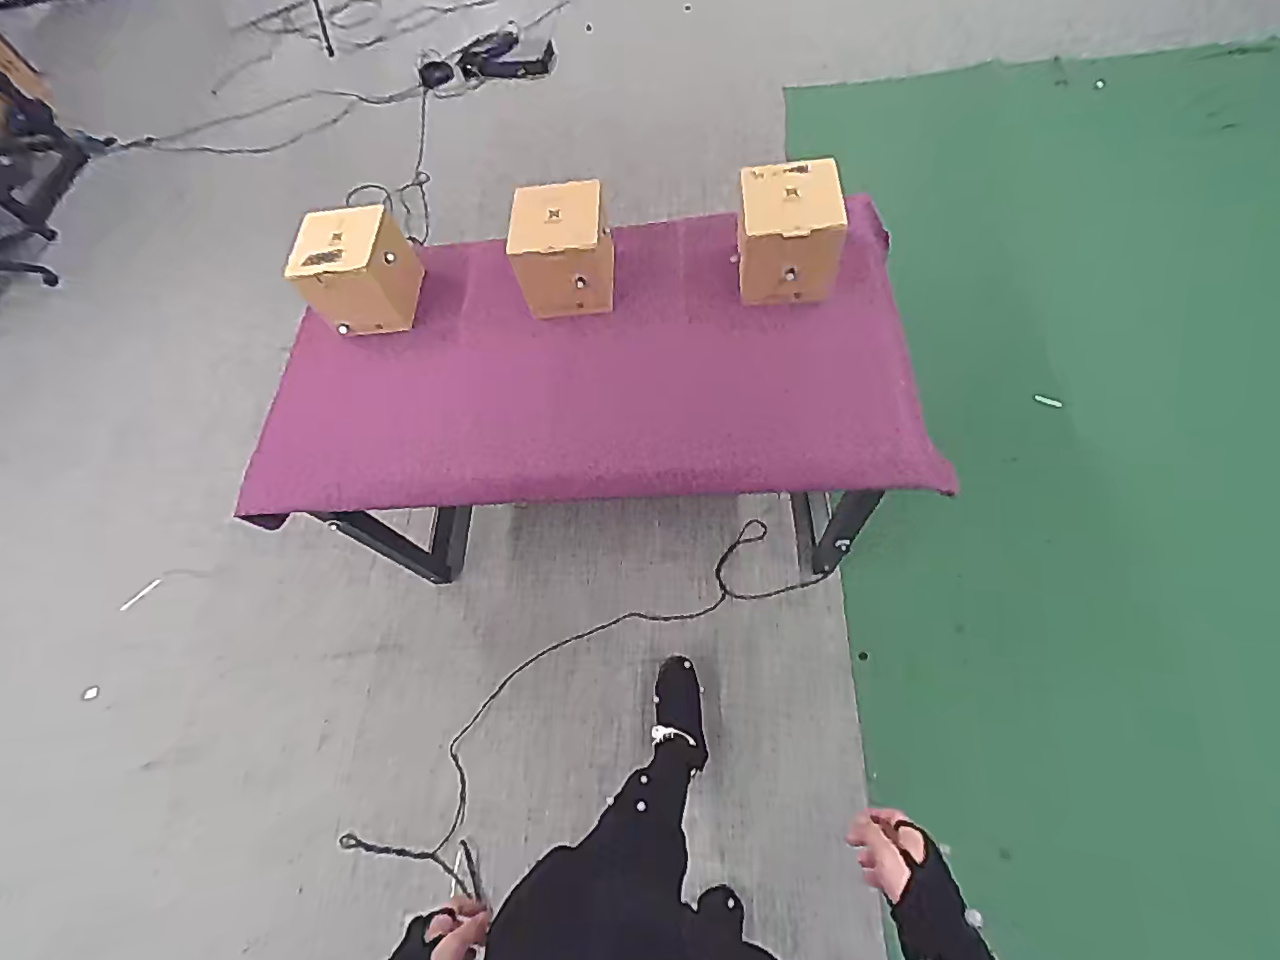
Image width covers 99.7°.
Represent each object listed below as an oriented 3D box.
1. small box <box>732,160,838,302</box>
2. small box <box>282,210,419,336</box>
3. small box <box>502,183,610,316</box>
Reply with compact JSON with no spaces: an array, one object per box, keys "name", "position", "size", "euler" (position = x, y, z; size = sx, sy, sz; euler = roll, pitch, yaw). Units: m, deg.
[{"name":"small box","position":[0.258,-0.447,0.997],"size":[0.168,0.176,0.179],"euler":[-2,65,7]},{"name":"small box","position":[-0.575,-0.411,1.100],"size":[0.168,0.176,0.179],"euler":[-4,63,6]},{"name":"small box","position":[-0.154,-0.438,1.055],"size":[0.168,0.176,0.179],"euler":[-3,64,6]}]
